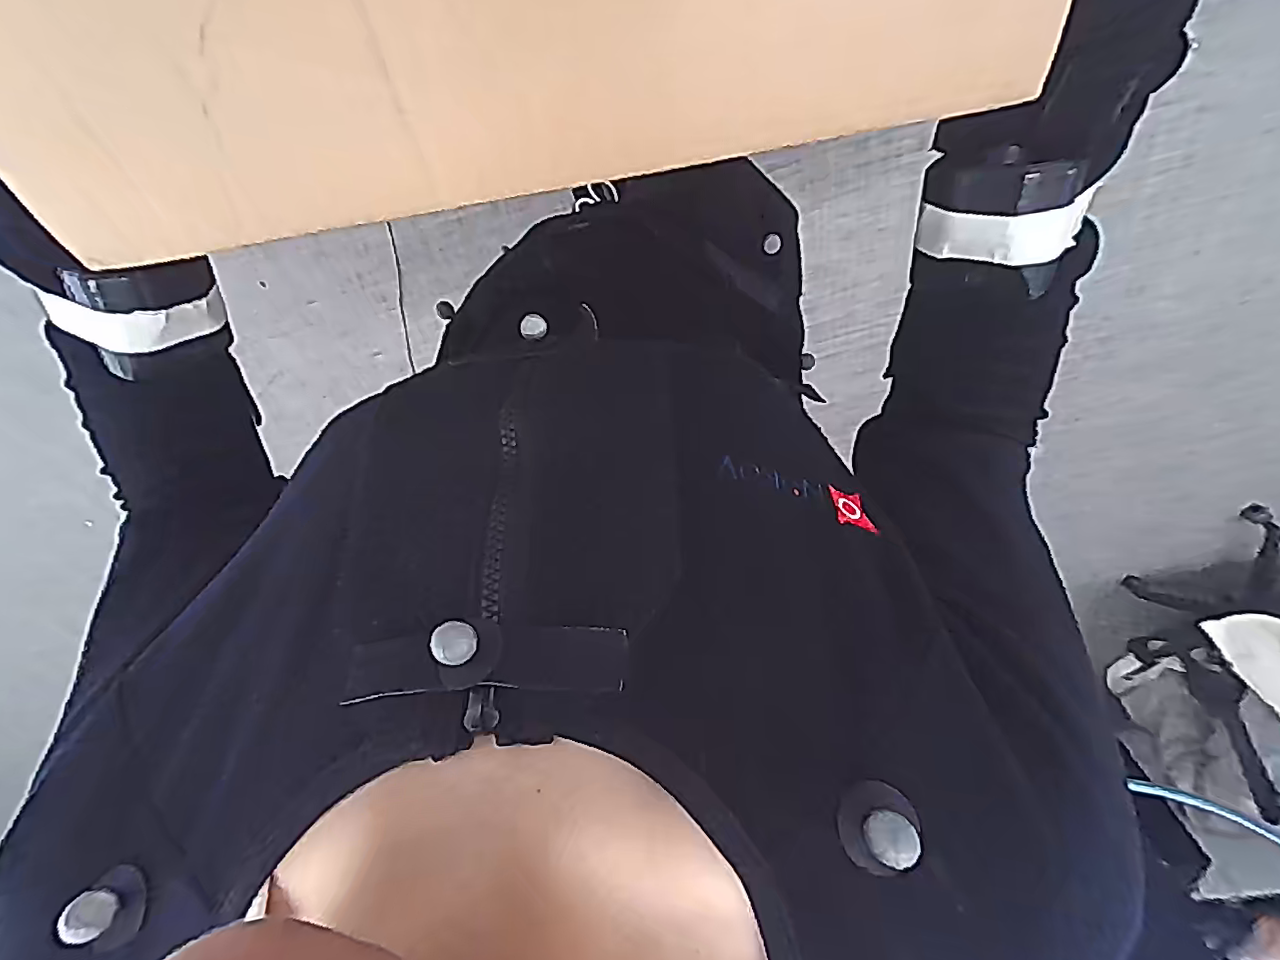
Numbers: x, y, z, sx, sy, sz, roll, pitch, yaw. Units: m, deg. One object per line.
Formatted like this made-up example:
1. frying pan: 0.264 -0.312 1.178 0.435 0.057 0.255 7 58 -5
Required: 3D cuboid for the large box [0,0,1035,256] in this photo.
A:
1. large box: -0.075 -0.343 0.227 0.408 0.320 0.320 -8 135 5
